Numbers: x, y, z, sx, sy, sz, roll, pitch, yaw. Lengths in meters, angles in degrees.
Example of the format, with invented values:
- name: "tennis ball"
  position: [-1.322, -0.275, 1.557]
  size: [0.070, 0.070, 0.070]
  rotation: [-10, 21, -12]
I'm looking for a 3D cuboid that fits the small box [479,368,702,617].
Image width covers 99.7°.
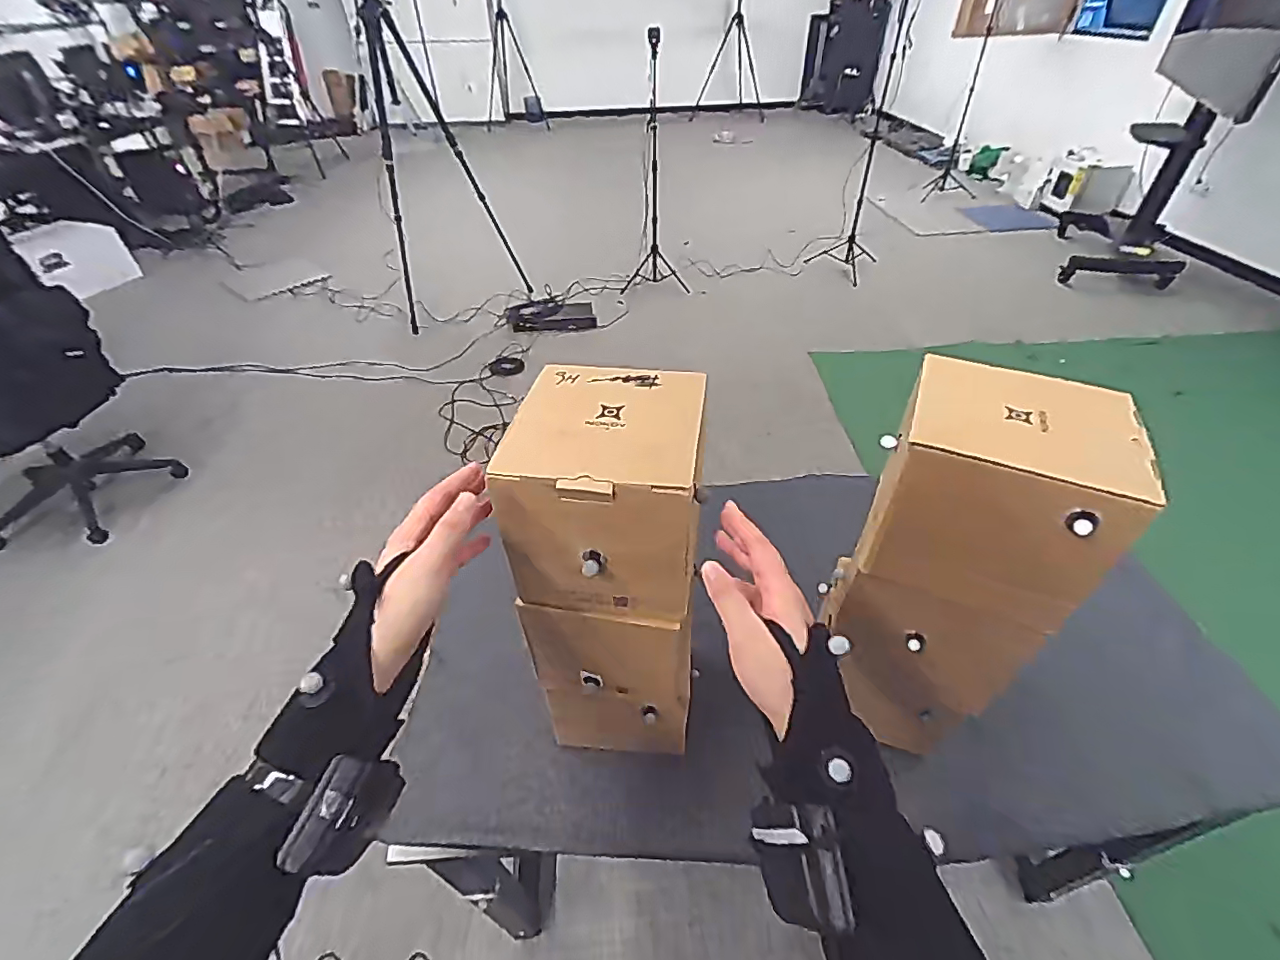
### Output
- name: "small box"
  position: [-0.030, 0.011, 0.526]
  size: [0.168, 0.176, 0.179]
  rotation: [5, 43, 8]

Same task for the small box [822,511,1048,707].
- name: "small box"
  position: [0.330, 0.130, 0.622]
  size: [0.179, 0.176, 0.168]
  rotation: [19, 46, 22]

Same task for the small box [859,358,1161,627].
- name: "small box"
  position: [0.324, 0.009, 0.513]
  size: [0.179, 0.176, 0.168]
  rotation: [18, 45, 19]

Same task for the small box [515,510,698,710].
- name: "small box"
  position: [-0.027, 0.137, 0.631]
  size: [0.168, 0.176, 0.179]
  rotation: [5, 44, 9]

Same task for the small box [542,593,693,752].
- name: "small box"
  position: [-0.021, 0.255, 0.742]
  size: [0.179, 0.176, 0.168]
  rotation: [2, 42, 5]
